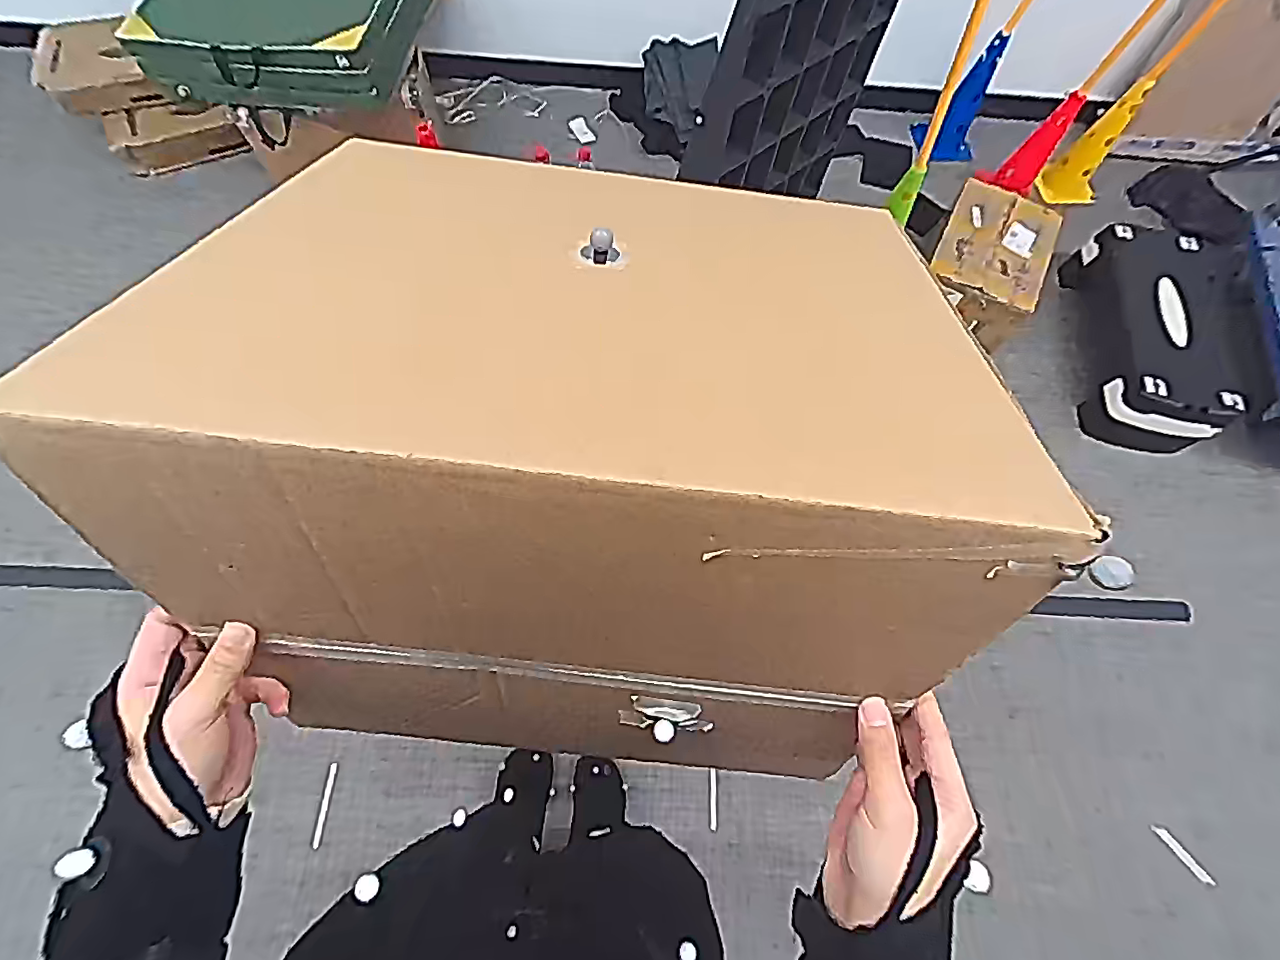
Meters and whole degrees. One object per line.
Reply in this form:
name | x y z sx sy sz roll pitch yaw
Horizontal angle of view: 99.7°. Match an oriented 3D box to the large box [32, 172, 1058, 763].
large box | -0.039 -0.007 0.414 0.408 0.320 0.320 5 49 -1
